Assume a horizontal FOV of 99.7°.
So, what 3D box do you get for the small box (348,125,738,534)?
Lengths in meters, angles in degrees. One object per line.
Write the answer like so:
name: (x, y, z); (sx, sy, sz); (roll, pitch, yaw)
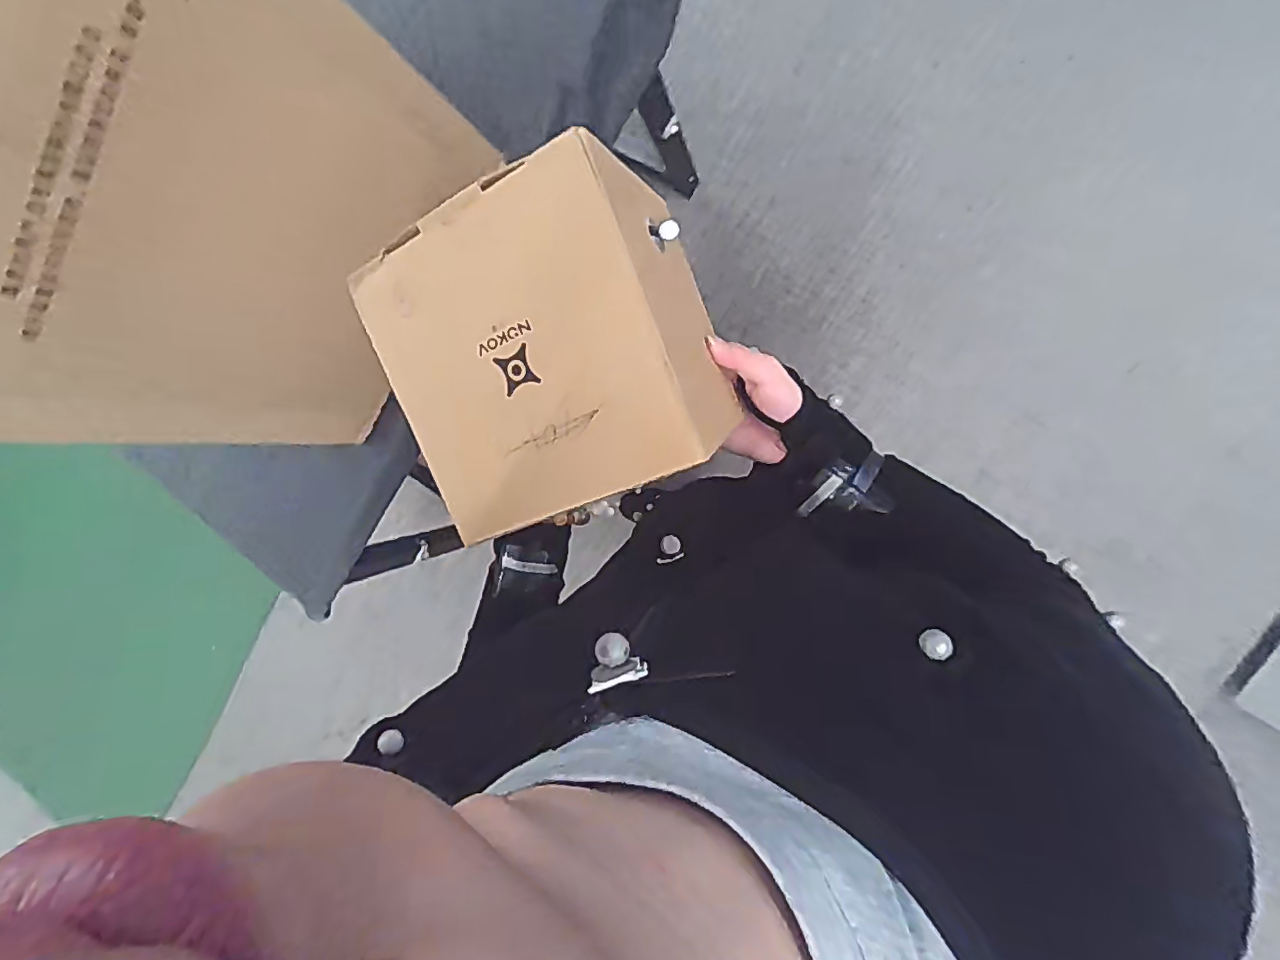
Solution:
small box: (-0.045, -0.088, 0.370); (0.168, 0.176, 0.179); (-19, 99, 23)
